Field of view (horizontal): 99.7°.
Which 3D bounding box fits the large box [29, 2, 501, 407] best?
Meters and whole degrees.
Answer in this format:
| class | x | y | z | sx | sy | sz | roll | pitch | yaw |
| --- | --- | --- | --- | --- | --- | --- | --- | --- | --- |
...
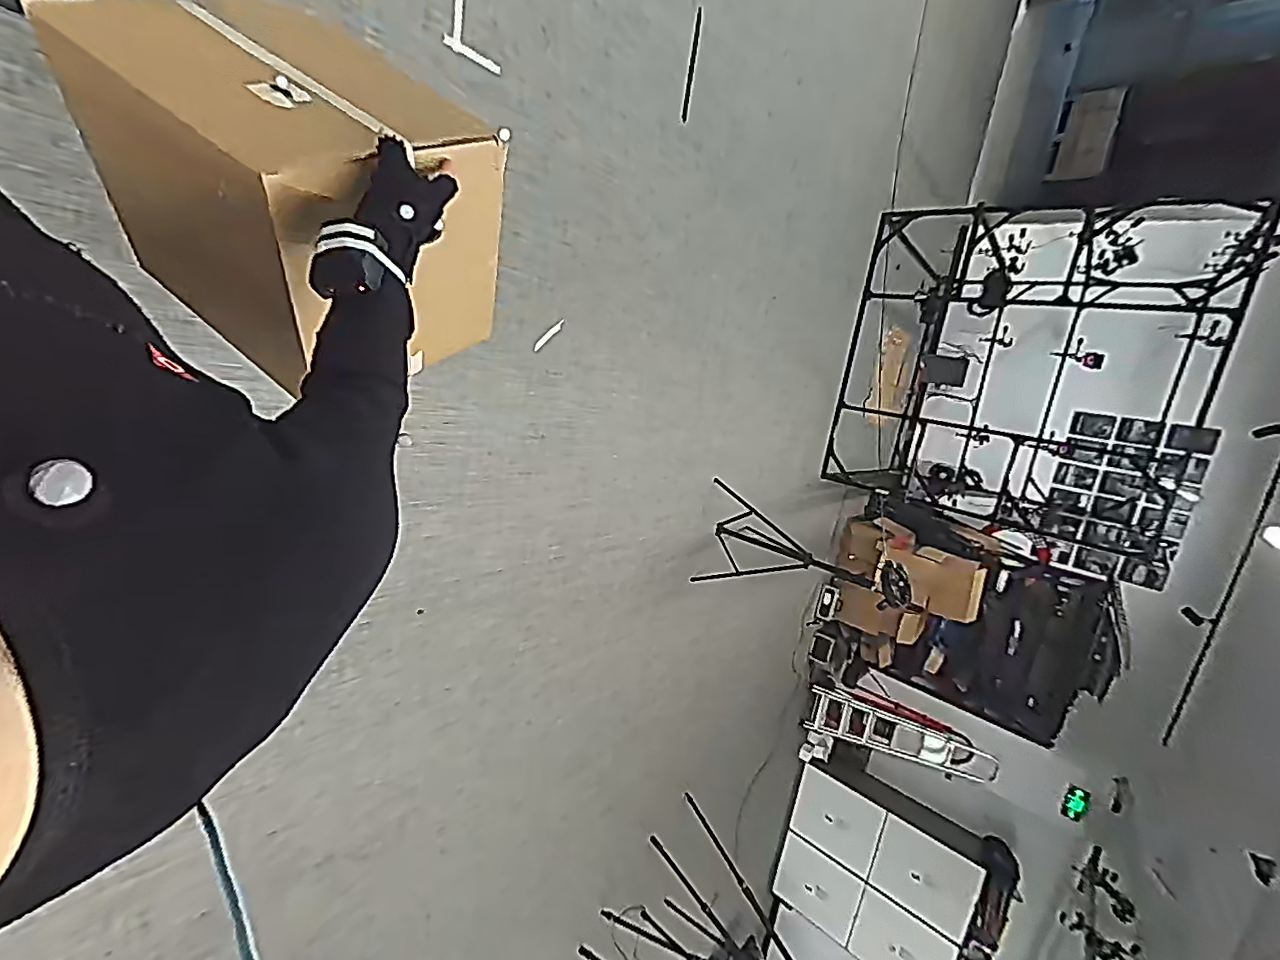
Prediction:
| class | x | y | z | sx | sy | sz | roll | pitch | yaw |
| --- | --- | --- | --- | --- | --- | --- | --- | --- | --- |
| large box | -0.461 | -0.376 | 0.746 | 0.320 | 0.408 | 0.320 | -43 | 165 | -40 |
